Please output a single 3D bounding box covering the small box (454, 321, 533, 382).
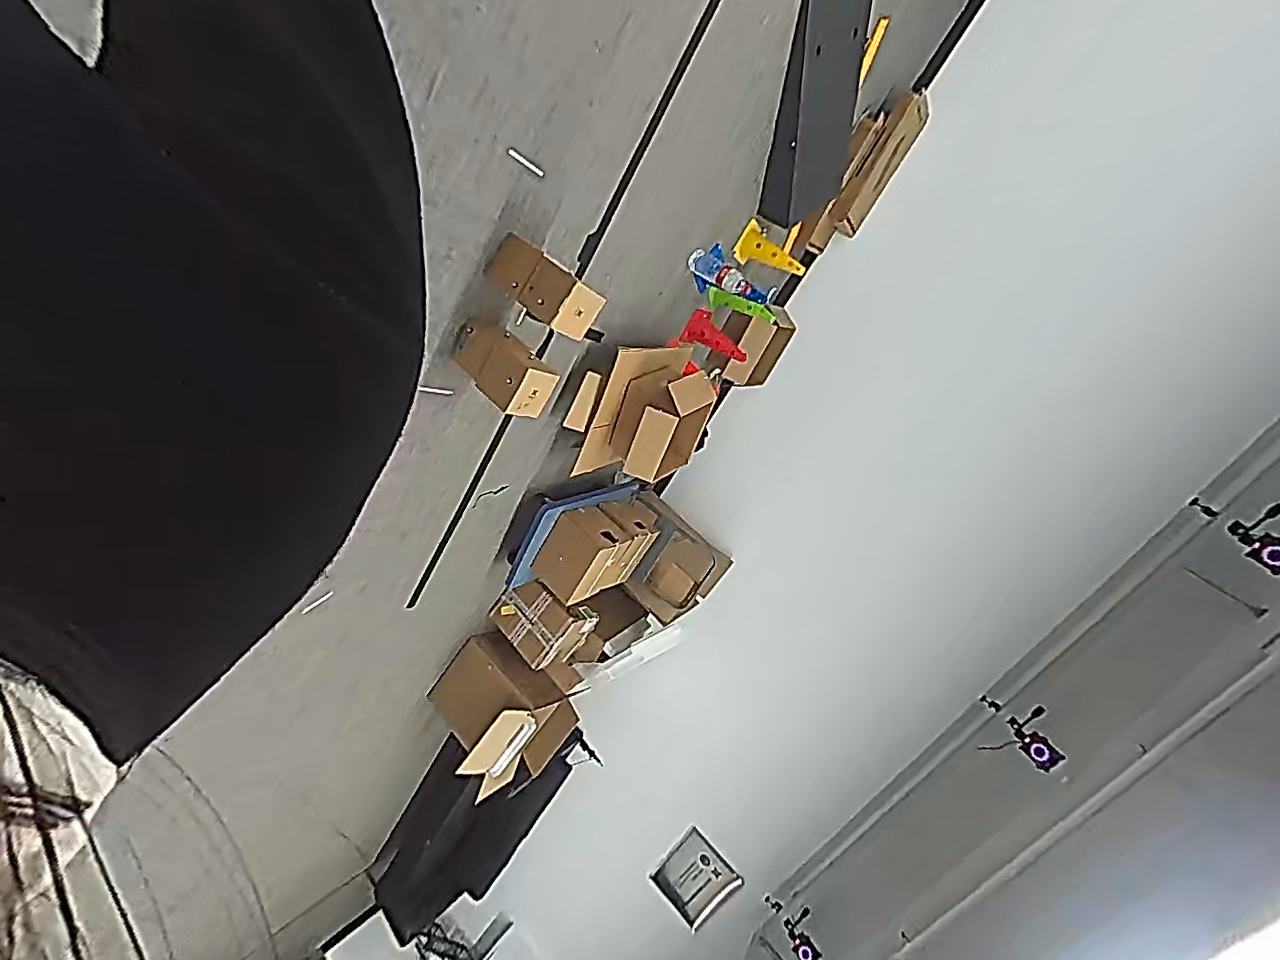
[{"bbox_3d":[-0.518,-0.437,1.901,0.168,0.176,0.179,-57,158,19],"label":"small box"}]

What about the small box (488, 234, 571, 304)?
[{"bbox_3d":[-0.369,-0.679,1.793,0.179,0.176,0.168,-55,158,13],"label":"small box"}]

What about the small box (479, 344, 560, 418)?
[{"bbox_3d":[-0.412,-0.333,1.827,0.179,0.176,0.168,-56,157,17],"label":"small box"}]

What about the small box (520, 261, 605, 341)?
[{"bbox_3d":[-0.252,-0.579,1.742,0.168,0.176,0.179,-54,160,15],"label":"small box"}]
